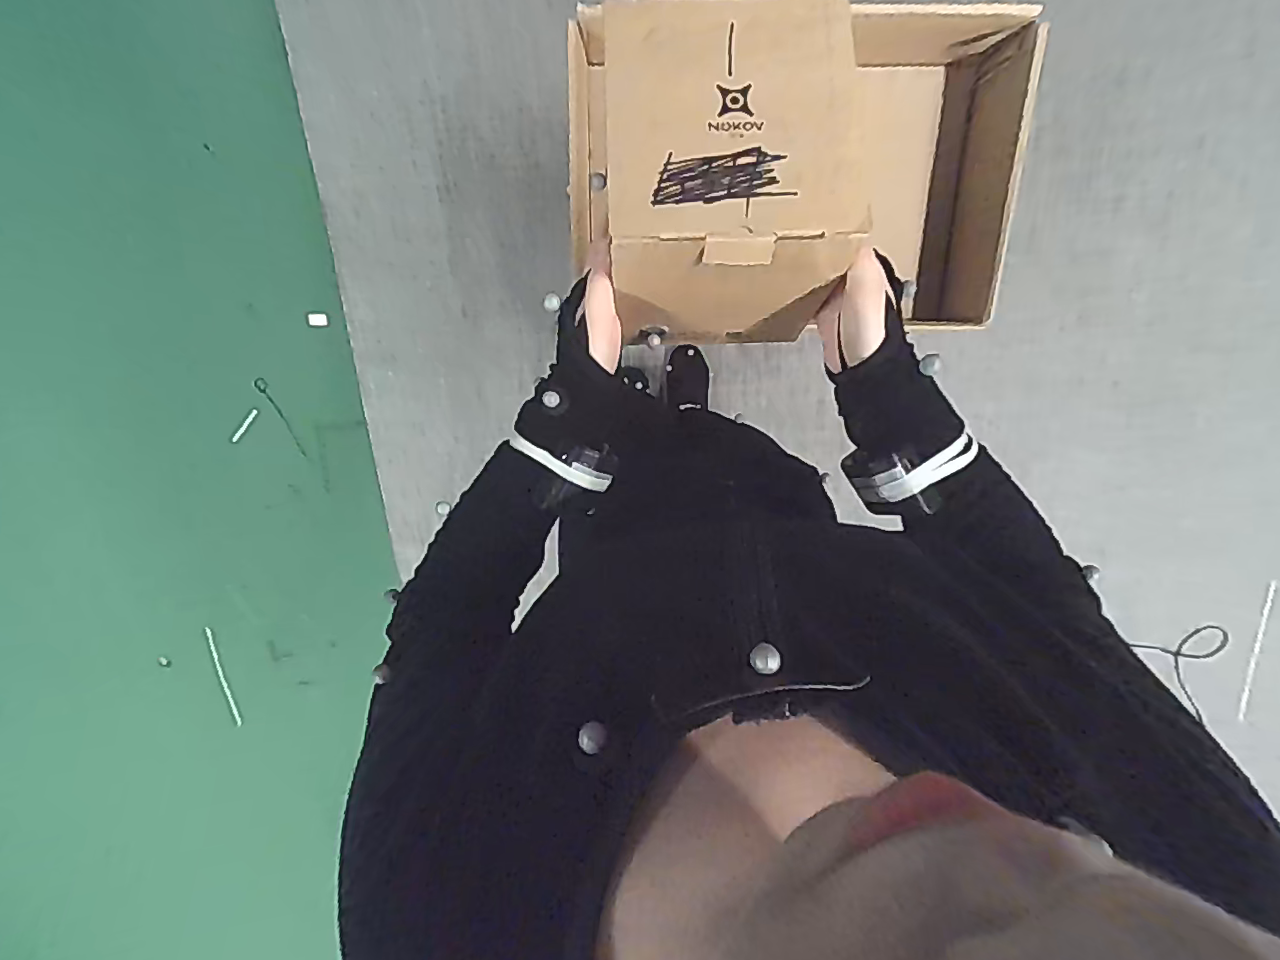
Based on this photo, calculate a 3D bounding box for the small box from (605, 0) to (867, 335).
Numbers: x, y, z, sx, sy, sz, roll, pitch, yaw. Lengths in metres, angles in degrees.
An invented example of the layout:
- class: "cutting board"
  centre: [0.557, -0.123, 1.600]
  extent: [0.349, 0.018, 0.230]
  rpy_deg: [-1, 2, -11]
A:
- class: "small box"
  centre: [0.059, -0.225, 0.430]
  extent: [0.168, 0.176, 0.179]
  rpy_deg: [-2, 81, -2]
